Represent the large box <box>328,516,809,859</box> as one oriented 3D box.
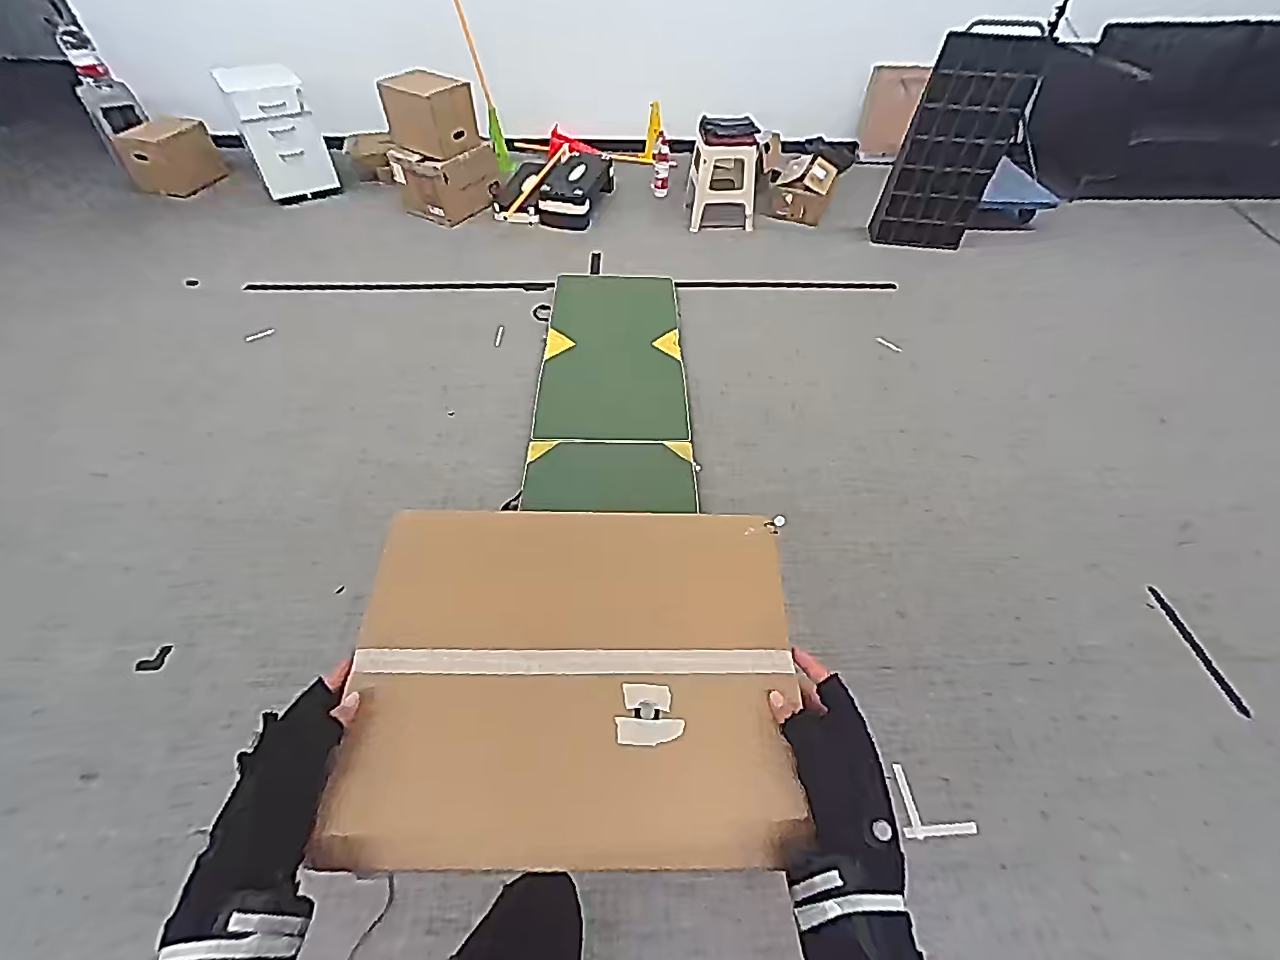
[{"bbox_3d":[-0.064,0.251,0.646,0.408,0.320,0.320,1,59,-2],"label":"large box"}]
